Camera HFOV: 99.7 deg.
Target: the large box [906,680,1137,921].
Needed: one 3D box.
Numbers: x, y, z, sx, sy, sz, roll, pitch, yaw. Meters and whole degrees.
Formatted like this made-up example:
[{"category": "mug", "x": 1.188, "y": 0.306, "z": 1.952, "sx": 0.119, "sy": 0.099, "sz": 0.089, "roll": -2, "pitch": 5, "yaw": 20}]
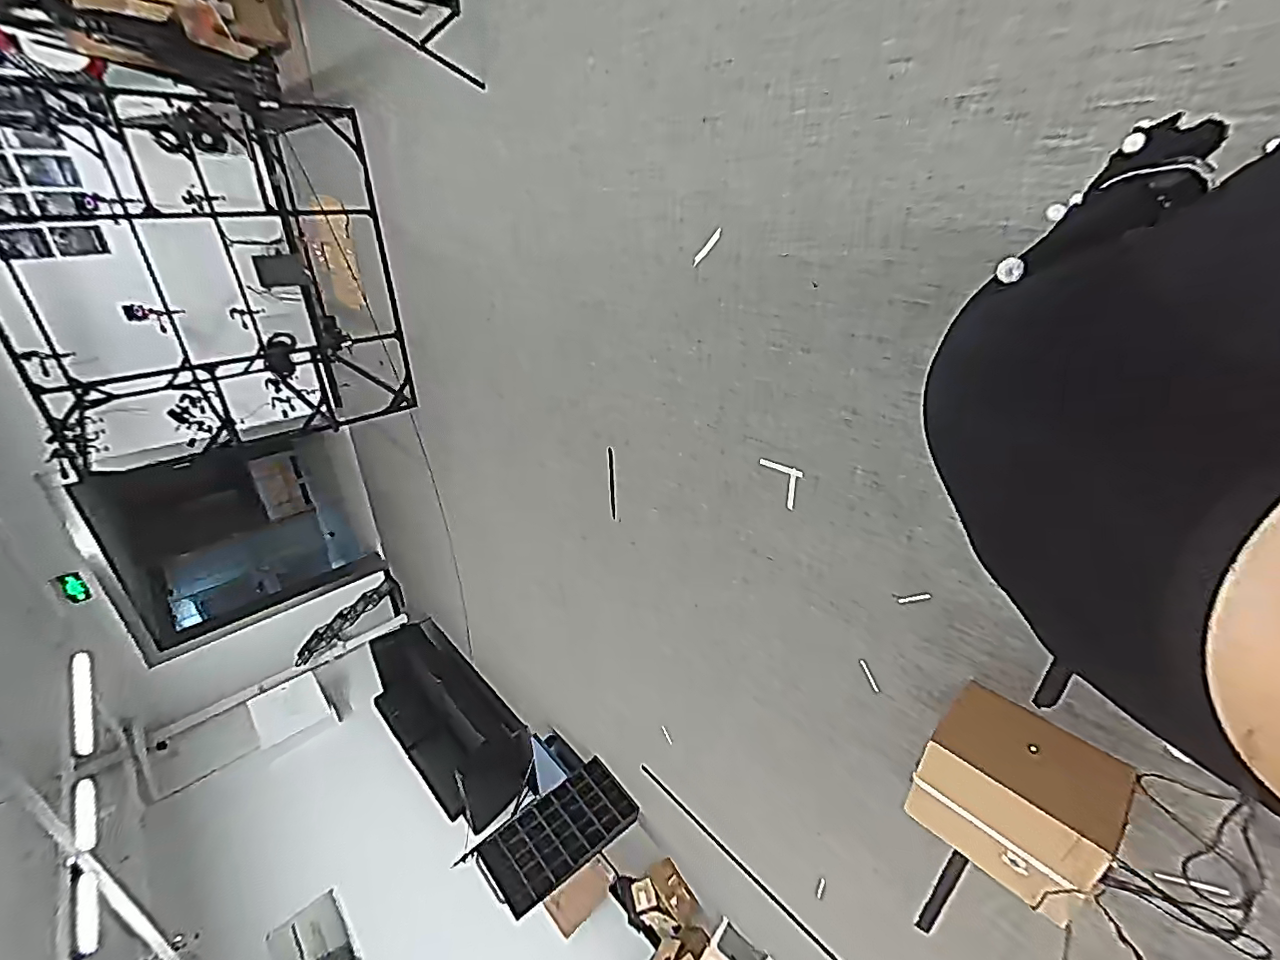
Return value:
[{"category": "large box", "x": 1.017, "y": 0.835, "z": 1.471, "sx": 0.408, "sy": 0.320, "sz": 0.320, "roll": 26, "pitch": 127, "yaw": 40}]
